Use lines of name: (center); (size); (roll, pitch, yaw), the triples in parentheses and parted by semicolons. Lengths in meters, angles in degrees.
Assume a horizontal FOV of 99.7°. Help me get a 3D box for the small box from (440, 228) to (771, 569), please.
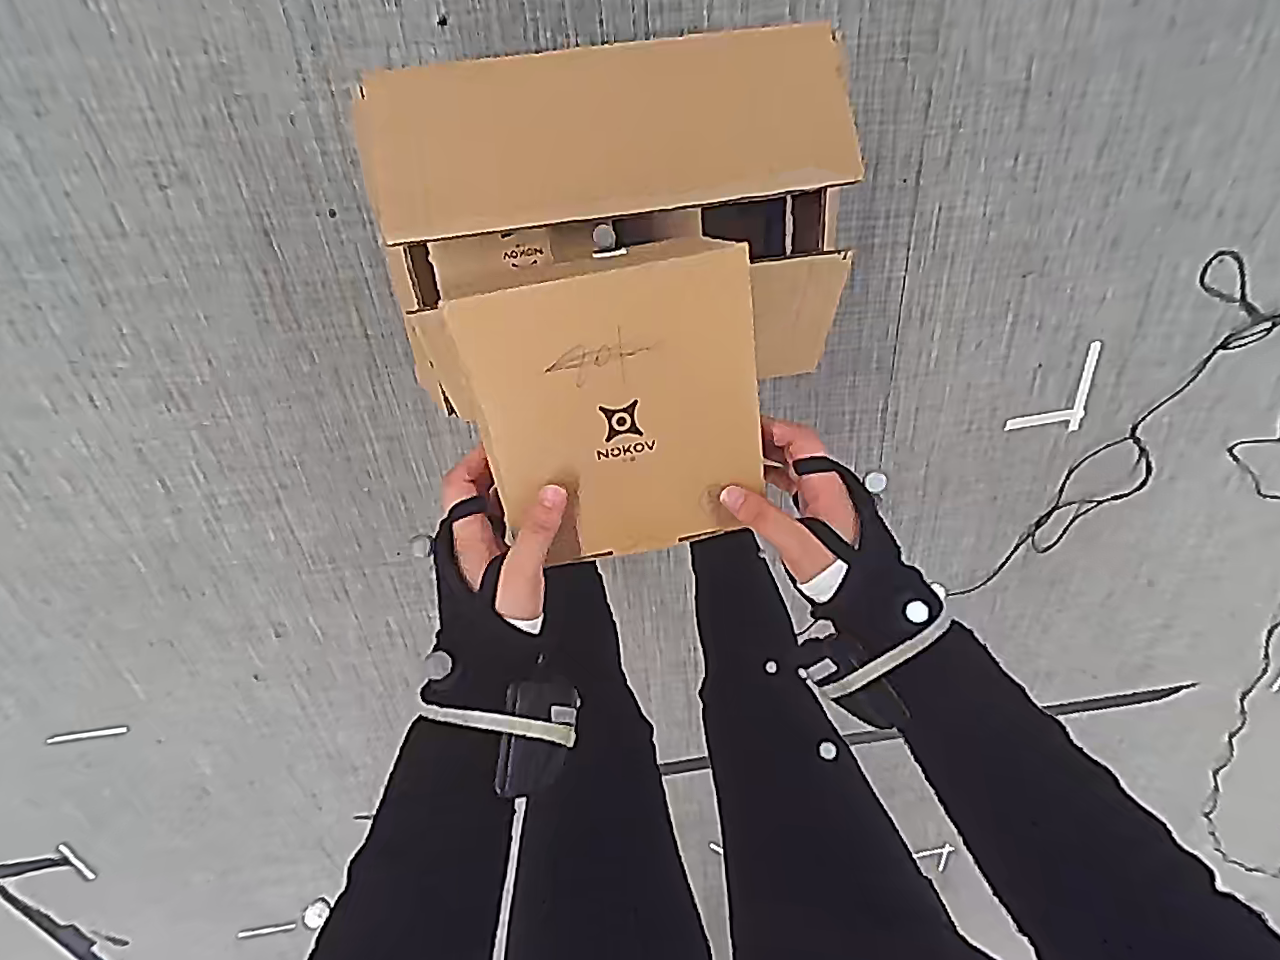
small box: (-0.015, -0.068, 0.381); (0.168, 0.176, 0.179); (-12, 117, -1)
